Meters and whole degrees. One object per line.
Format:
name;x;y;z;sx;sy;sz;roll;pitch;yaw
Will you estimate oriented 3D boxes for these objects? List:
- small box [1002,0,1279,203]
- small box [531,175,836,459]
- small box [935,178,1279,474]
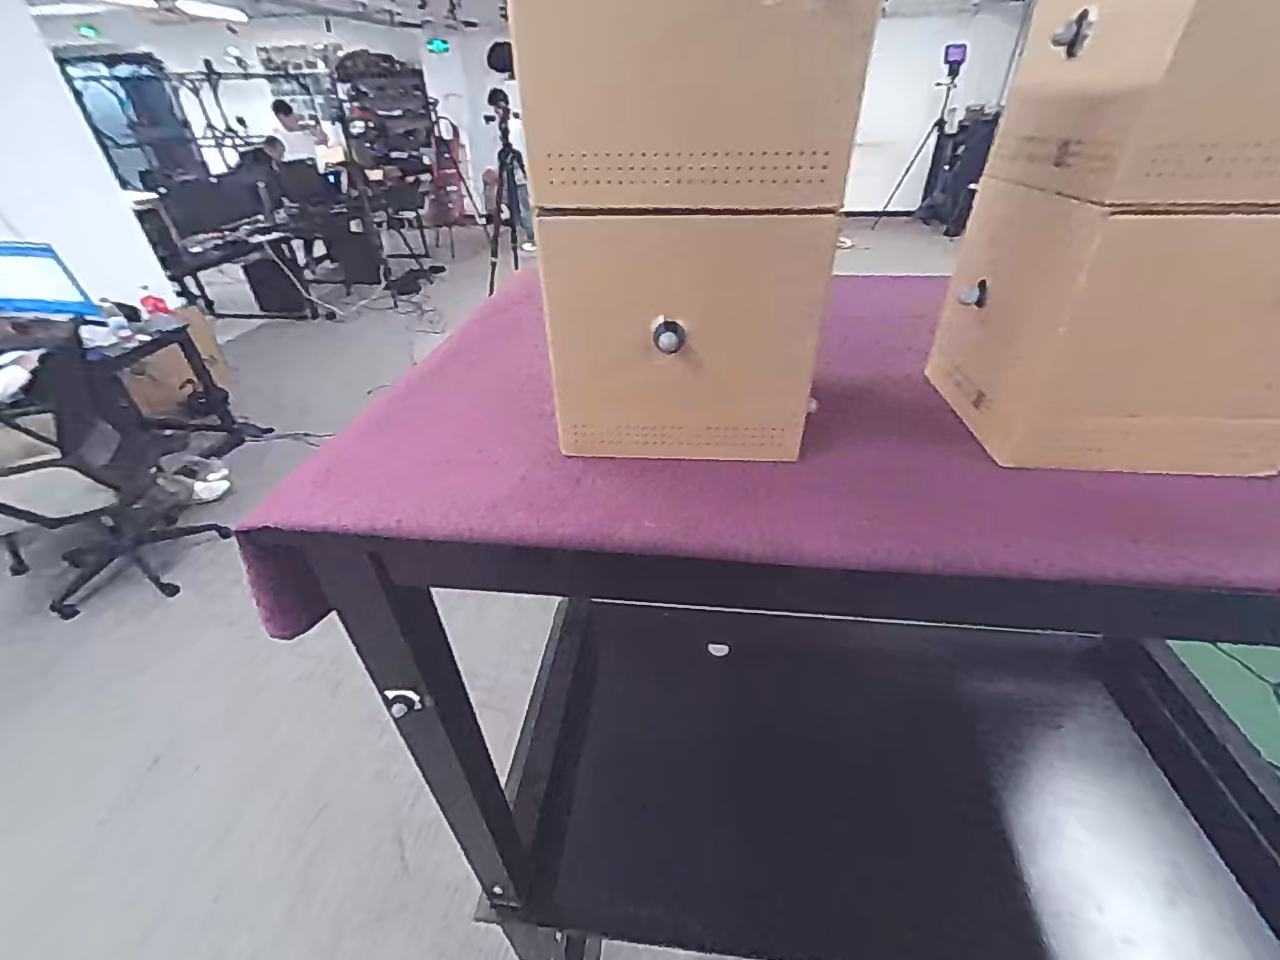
small box;0.336;-0.252;0.299;0.179;0.176;0.168;3;35;6
small box;0.031;-0.127;0.415;0.179;0.176;0.168;1;35;5
small box;0.339;-0.116;0.391;0.179;0.176;0.168;3;35;5
